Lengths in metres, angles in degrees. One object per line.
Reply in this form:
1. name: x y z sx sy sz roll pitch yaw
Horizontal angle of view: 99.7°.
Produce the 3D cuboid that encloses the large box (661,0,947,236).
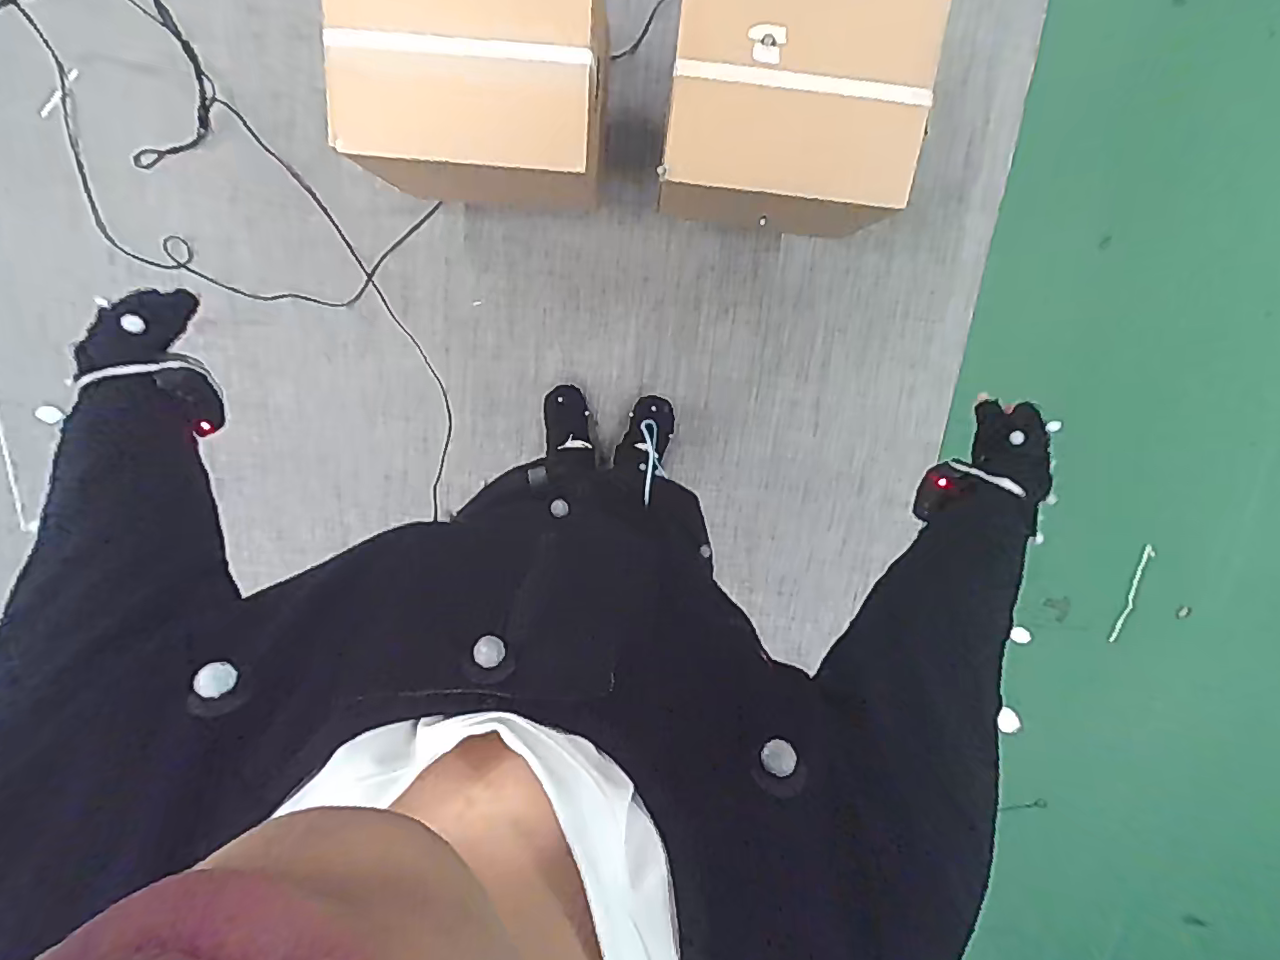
1. large box: 0.259 -0.654 0.999 0.408 0.320 0.320 7 105 -1
